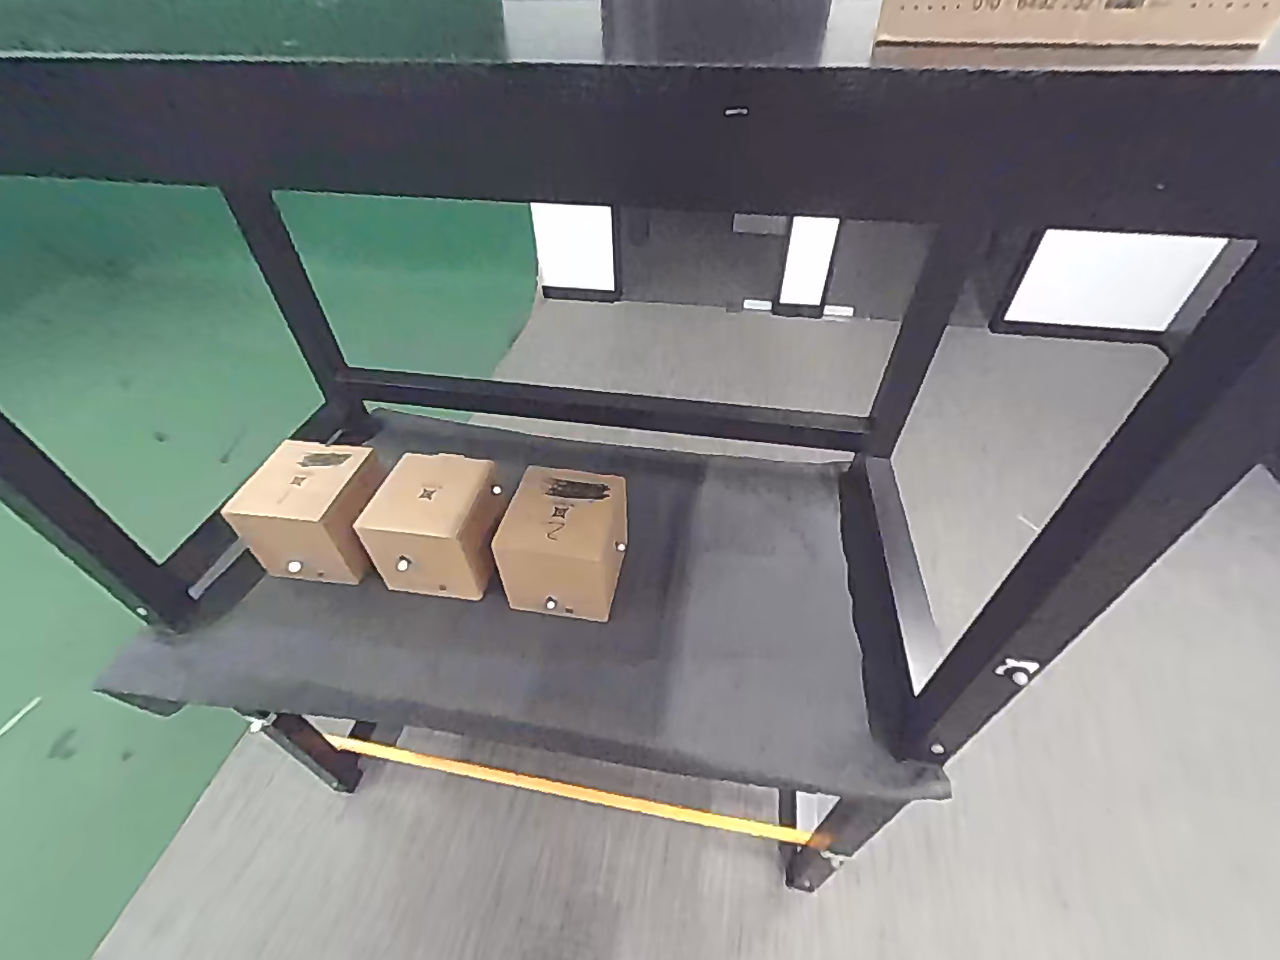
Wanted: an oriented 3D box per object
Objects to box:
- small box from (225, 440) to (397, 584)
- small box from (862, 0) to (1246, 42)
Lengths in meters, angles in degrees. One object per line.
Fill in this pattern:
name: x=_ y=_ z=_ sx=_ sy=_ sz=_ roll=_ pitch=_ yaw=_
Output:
small box: x=-0.551 y=0.054 z=0.941 sx=0.168 sy=0.176 sz=0.179 roll=5 pitch=44 yaw=6
small box: x=0.216 y=-0.326 z=0.262 sx=0.168 sy=0.176 sz=0.179 roll=14 pitch=45 yaw=15
